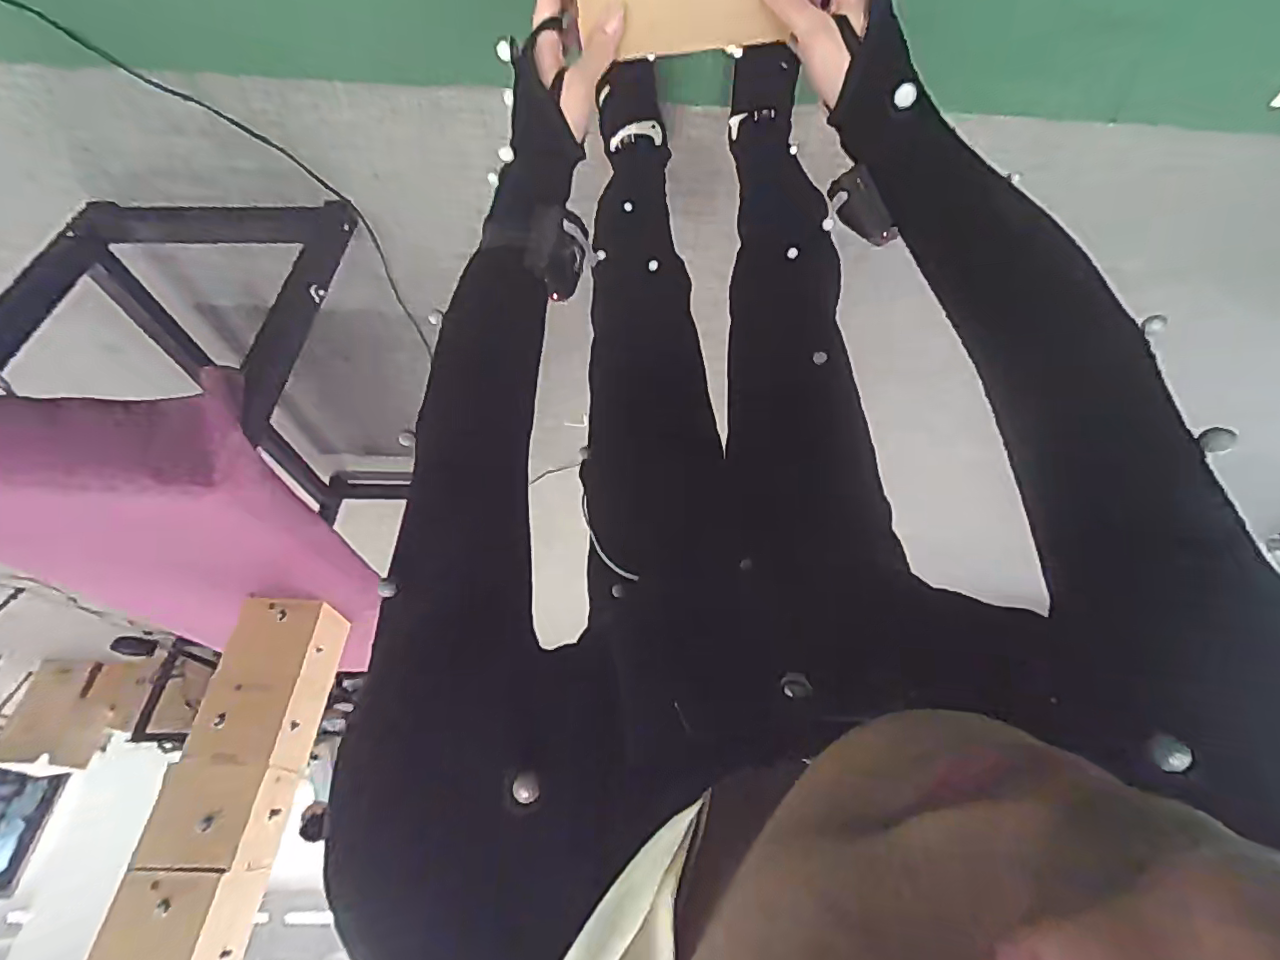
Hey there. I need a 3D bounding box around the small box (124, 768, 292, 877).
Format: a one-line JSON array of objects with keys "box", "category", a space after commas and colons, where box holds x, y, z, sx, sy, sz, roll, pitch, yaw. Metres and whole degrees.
[{"box": [-0.803, 0.650, 1.036, 0.179, 0.176, 0.168, 4, 146, -4], "category": "small box"}]

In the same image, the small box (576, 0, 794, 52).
[{"box": [0.032, -0.479, 0.430, 0.179, 0.176, 0.168, -2, 146, 6], "category": "small box"}]

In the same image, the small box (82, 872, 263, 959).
[{"box": [-0.809, 0.788, 0.946, 0.168, 0.176, 0.179, 4, 146, -2], "category": "small box"}]

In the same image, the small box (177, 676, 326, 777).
[{"box": [-0.792, 0.514, 1.125, 0.168, 0.176, 0.179, 5, 147, -4], "category": "small box"}]
